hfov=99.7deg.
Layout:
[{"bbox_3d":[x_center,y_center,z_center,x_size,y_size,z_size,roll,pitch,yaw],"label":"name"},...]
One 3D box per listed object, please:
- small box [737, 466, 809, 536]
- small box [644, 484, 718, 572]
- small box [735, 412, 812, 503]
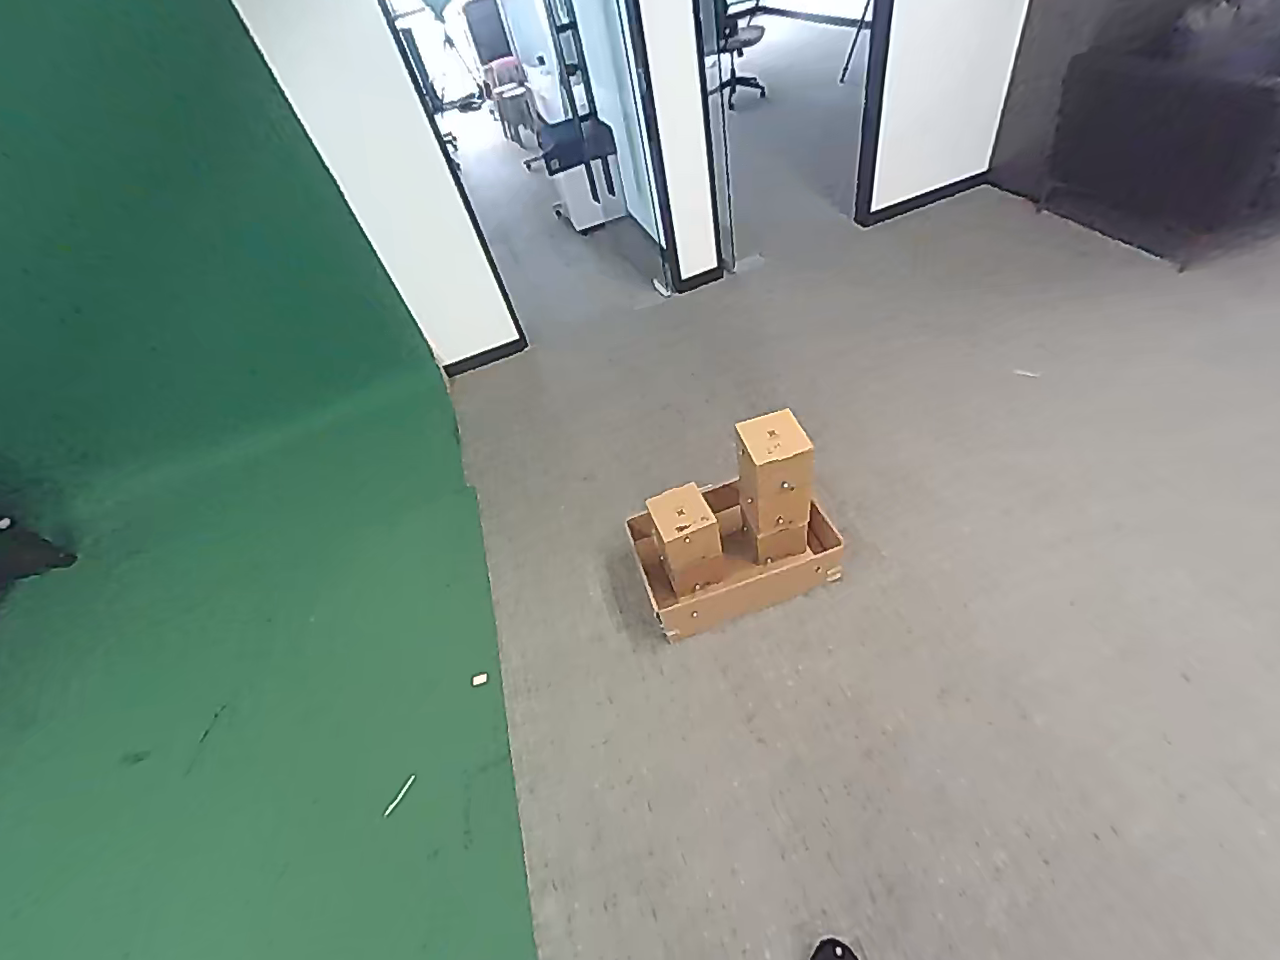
[{"bbox_3d":[0.407,0.045,1.676,0.168,0.176,0.179,-16,48,-1],"label":"small box"},{"bbox_3d":[0.127,0.149,1.650,0.168,0.176,0.179,-22,47,-5],"label":"small box"},{"bbox_3d":[0.378,-0.062,1.553,0.168,0.176,0.179,-16,48,0],"label":"small box"}]
